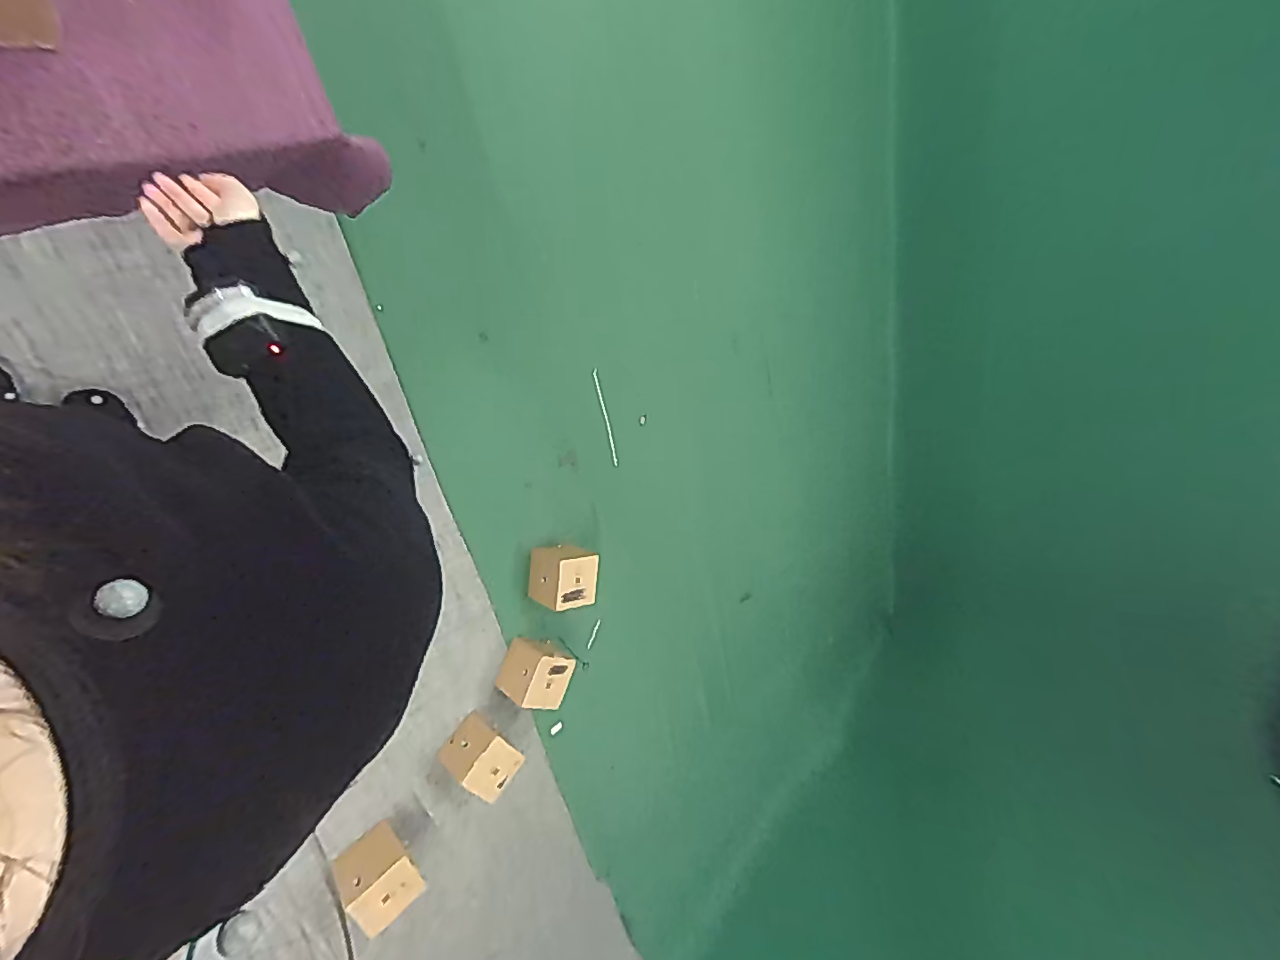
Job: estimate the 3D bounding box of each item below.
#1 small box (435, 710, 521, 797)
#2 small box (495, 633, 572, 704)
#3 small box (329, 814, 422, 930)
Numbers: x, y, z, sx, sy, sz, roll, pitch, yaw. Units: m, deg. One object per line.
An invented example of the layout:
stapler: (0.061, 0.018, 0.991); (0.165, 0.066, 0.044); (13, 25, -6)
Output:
small box: (-0.529, 0.880, 1.758); (0.168, 0.176, 0.179); (-48, 129, -25)
small box: (-0.370, 0.645, 1.856); (0.168, 0.176, 0.179); (28, 81, -45)
small box: (-0.776, 1.133, 1.576); (0.179, 0.176, 0.168); (-33, 122, -34)
